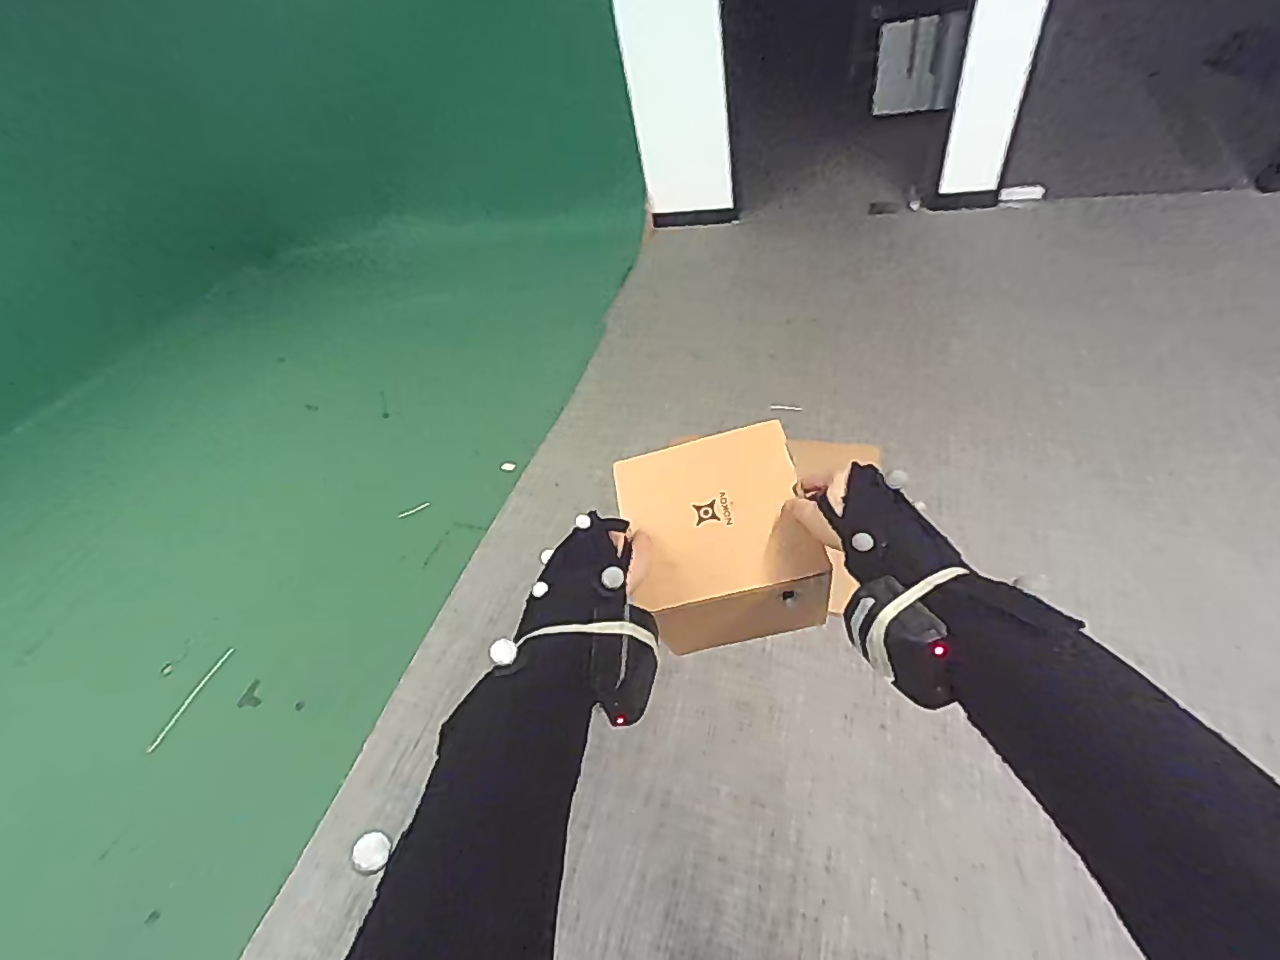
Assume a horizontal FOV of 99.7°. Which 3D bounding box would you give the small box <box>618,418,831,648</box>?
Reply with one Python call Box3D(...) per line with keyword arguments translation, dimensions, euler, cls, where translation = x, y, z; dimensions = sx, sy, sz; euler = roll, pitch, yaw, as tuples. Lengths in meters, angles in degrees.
Box3D(translation=(0.089, 0.066, 0.570), dimensions=(0.179, 0.176, 0.168), euler=(-14, 58, 8), cls="small box")
